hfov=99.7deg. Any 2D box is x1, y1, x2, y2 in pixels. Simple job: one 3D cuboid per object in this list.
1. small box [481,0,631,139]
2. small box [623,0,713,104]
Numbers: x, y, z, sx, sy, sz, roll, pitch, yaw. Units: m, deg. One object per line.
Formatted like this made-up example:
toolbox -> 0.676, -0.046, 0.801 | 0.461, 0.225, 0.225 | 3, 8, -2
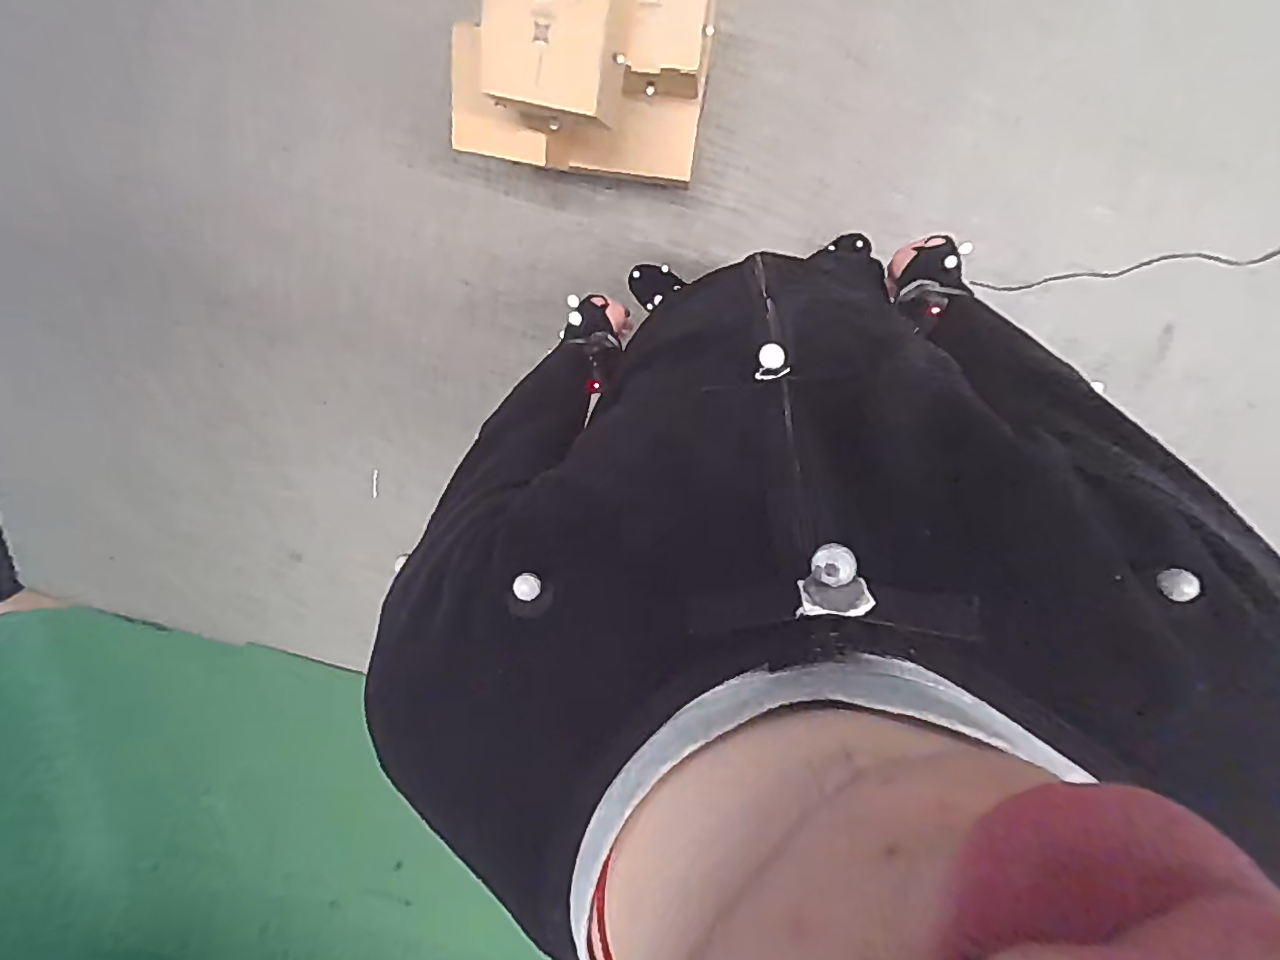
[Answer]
small box -> -0.113, -0.612, 0.773 | 0.168, 0.176, 0.179 | 13, 118, 2
small box -> 0.027, -0.735, 0.880 | 0.168, 0.176, 0.179 | 8, 115, 4
